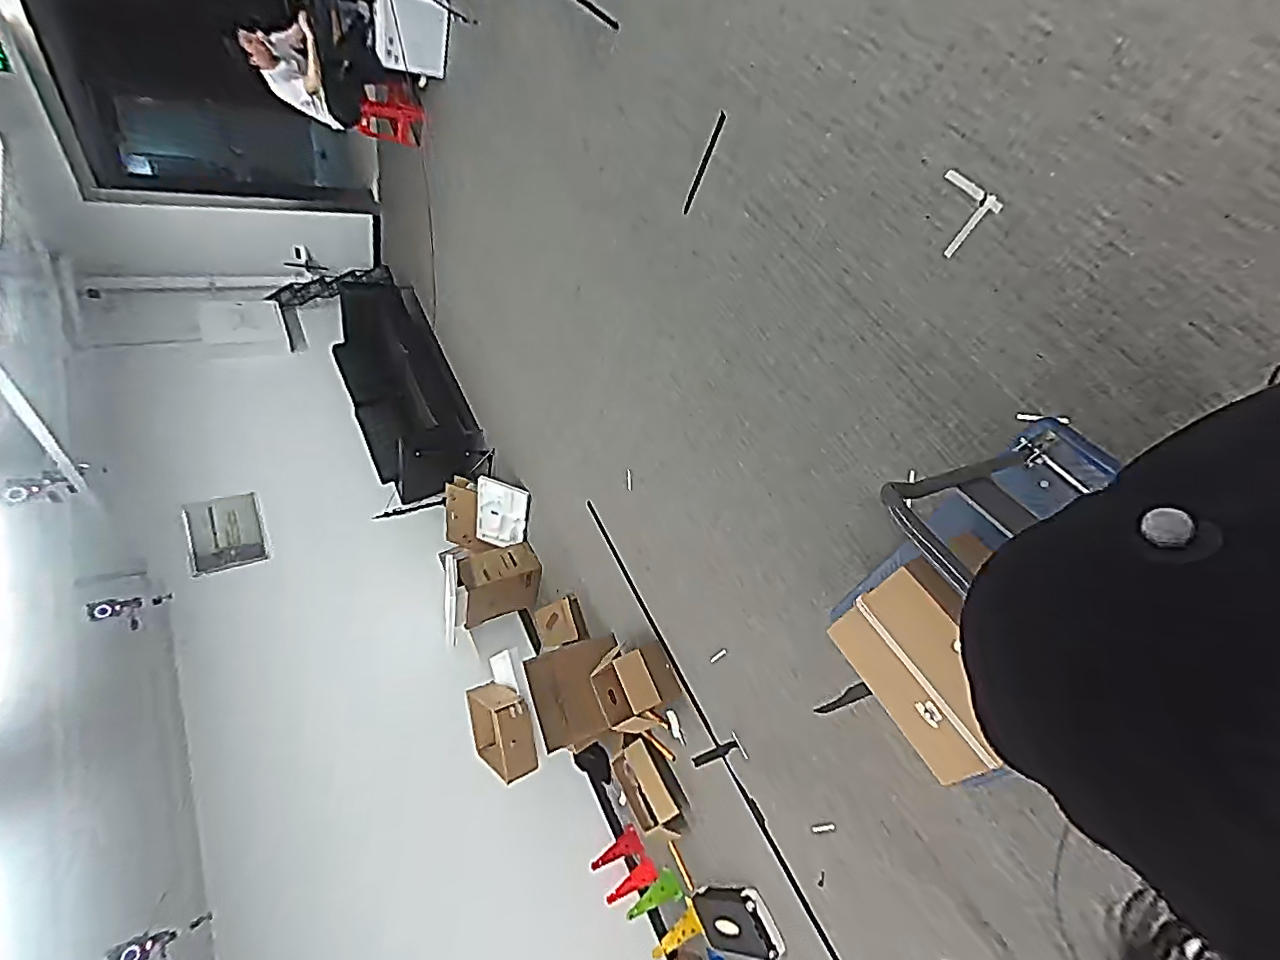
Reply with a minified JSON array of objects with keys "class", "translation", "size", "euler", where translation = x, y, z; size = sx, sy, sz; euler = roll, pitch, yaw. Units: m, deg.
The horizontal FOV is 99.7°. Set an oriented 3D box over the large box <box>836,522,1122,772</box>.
[{"class":"large box","translation":[0.759,0.369,1.254],"size":[0.408,0.320,0.320],"euler":[55,143,28]}]
